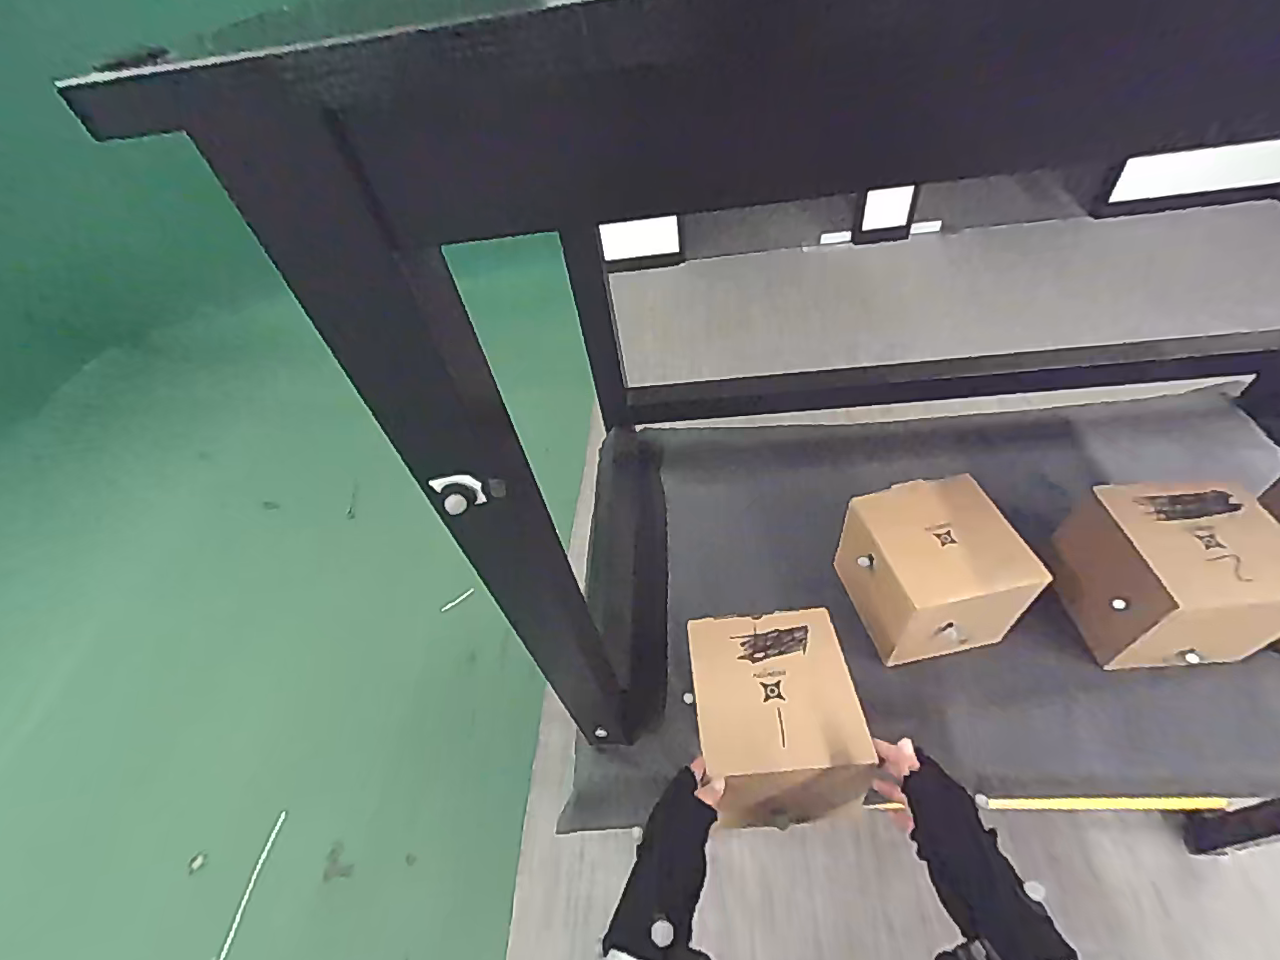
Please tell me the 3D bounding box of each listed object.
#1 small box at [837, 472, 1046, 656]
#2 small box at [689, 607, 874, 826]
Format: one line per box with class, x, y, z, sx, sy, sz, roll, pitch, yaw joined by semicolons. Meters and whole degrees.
small box;0.387;0.121;0.735;0.168;0.176;0.179;-12;47;-1
small box;0.148;0.273;0.627;0.168;0.176;0.179;-6;42;4
